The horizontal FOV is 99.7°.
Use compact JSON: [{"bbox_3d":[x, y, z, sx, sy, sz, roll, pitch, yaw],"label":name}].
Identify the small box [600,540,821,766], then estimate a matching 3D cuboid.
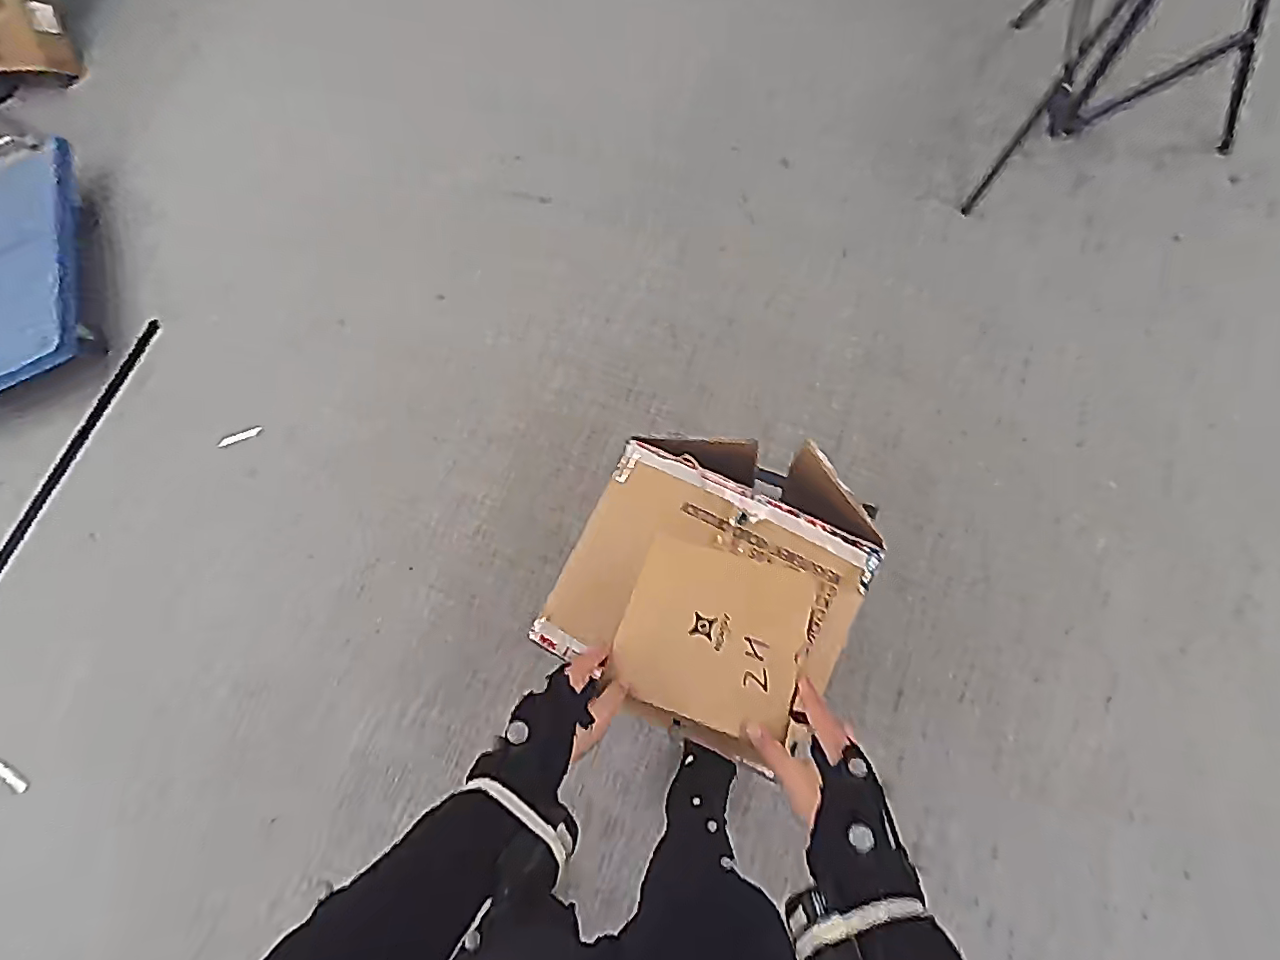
[{"bbox_3d":[0.081,0.191,0.581,0.179,0.176,0.168,14,62,17],"label":"small box"}]
